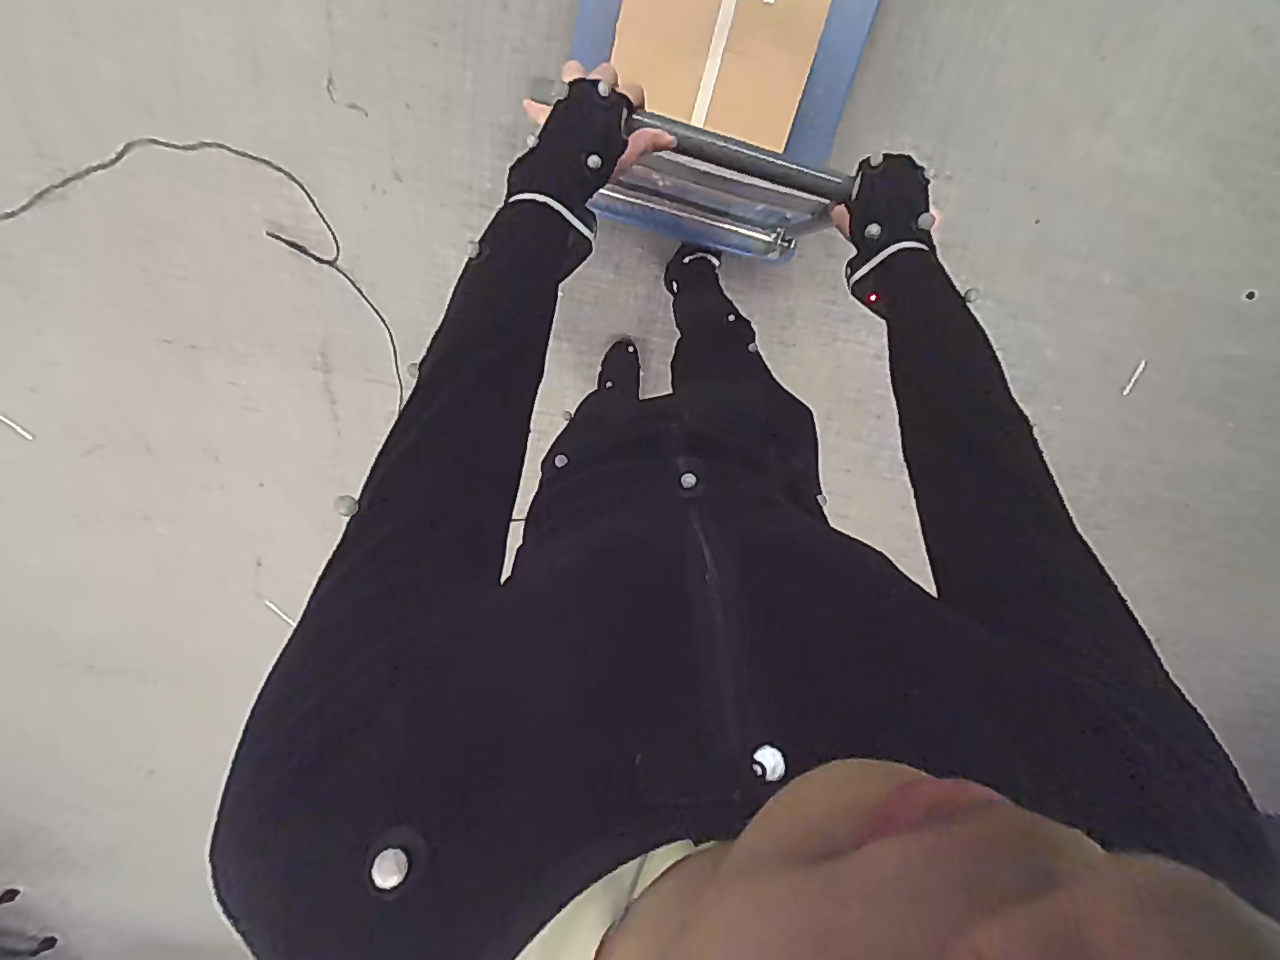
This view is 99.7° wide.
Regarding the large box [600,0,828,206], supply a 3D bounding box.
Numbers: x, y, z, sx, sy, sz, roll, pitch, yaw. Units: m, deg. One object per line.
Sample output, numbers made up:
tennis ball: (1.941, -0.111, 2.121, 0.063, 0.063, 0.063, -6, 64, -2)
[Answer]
large box: (0.123, -0.768, 0.989, 0.320, 0.320, 0.408, 13, 111, -7)
